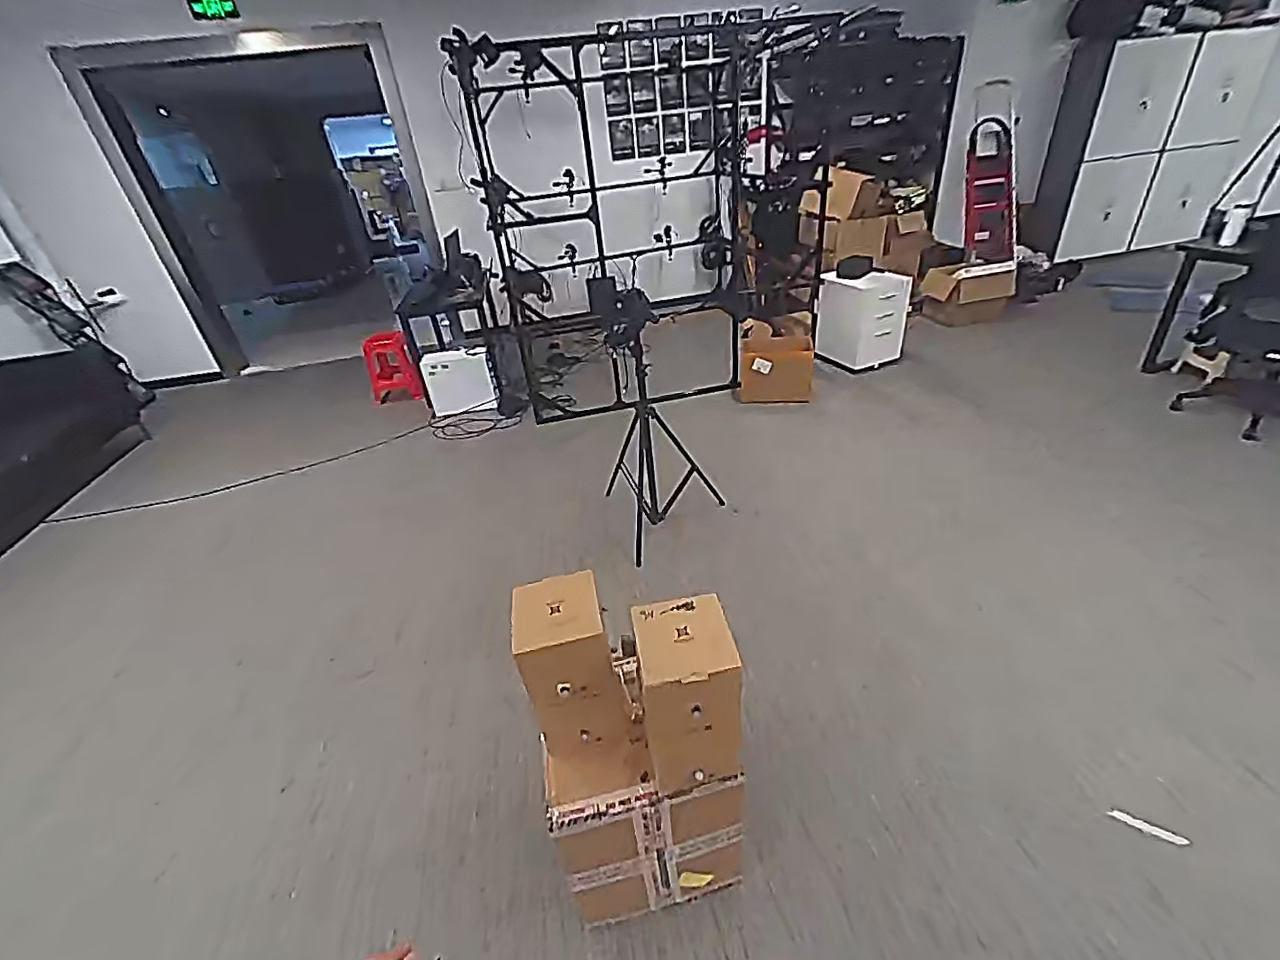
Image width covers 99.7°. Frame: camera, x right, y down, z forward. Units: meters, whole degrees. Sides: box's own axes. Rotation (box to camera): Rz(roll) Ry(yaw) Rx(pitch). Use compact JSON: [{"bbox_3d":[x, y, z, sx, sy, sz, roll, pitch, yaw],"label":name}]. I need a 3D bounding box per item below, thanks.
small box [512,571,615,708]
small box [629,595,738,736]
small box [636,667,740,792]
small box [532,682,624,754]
[{"bbox_3d":[-0.152,0.313,1.072,0.168,0.176,0.179,-13,34,-6],"label":"small box"},{"bbox_3d":[0.077,0.343,0.989,0.168,0.176,0.179,-9,34,-4],"label":"small box"},{"bbox_3d":[0.090,0.479,1.079,0.168,0.176,0.179,-11,34,-7],"label":"small box"},{"bbox_3d":[-0.136,0.449,1.162,0.168,0.176,0.179,-12,34,-6],"label":"small box"}]
